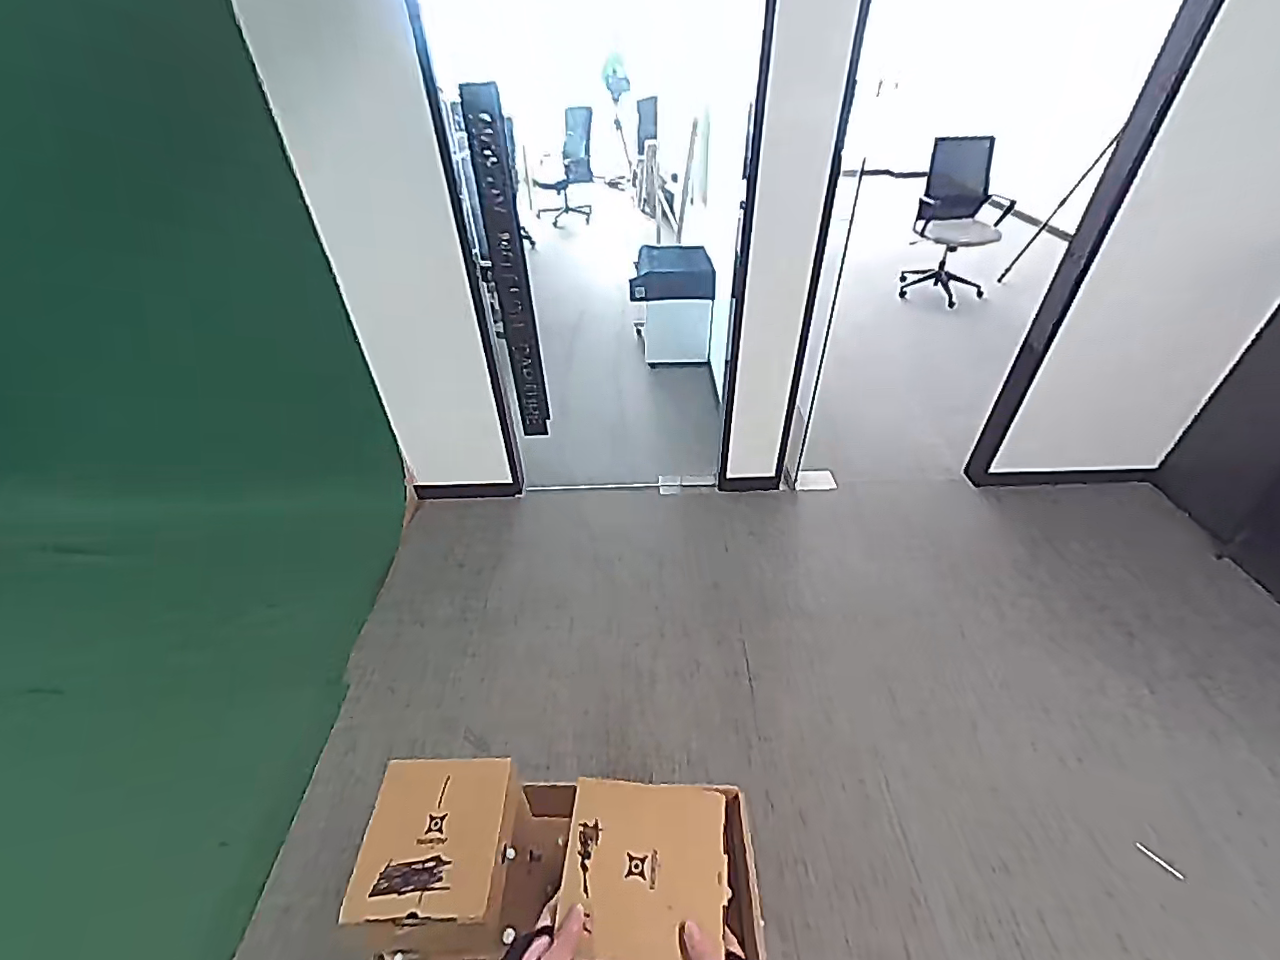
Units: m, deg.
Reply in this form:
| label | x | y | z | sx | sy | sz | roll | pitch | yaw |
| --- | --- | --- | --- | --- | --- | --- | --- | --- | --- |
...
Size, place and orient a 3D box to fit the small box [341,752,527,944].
| label | x | y | z | sx | sy | sz | roll | pitch | yaw |
| --- | --- | --- | --- | --- | --- | --- | --- | --- | --- |
| small box | -0.249 | 0.482 | 0.708 | 0.168 | 0.176 | 0.179 | 0 | 39 | -1 |

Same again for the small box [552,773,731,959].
| label | x | y | z | sx | sy | sz | roll | pitch | yaw |
| --- | --- | --- | --- | --- | --- | --- | --- | --- | --- |
| small box | 0.008 | 0.465 | 0.632 | 0.179 | 0.176 | 0.168 | 5 | 46 | 4 |

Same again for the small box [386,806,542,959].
| label | x | y | z | sx | sy | sz | roll | pitch | yaw |
| --- | --- | --- | --- | --- | --- | --- | --- | --- | --- |
| small box | -0.246 | 0.612 | 0.808 | 0.168 | 0.176 | 0.179 | 0 | 40 | 1 |
